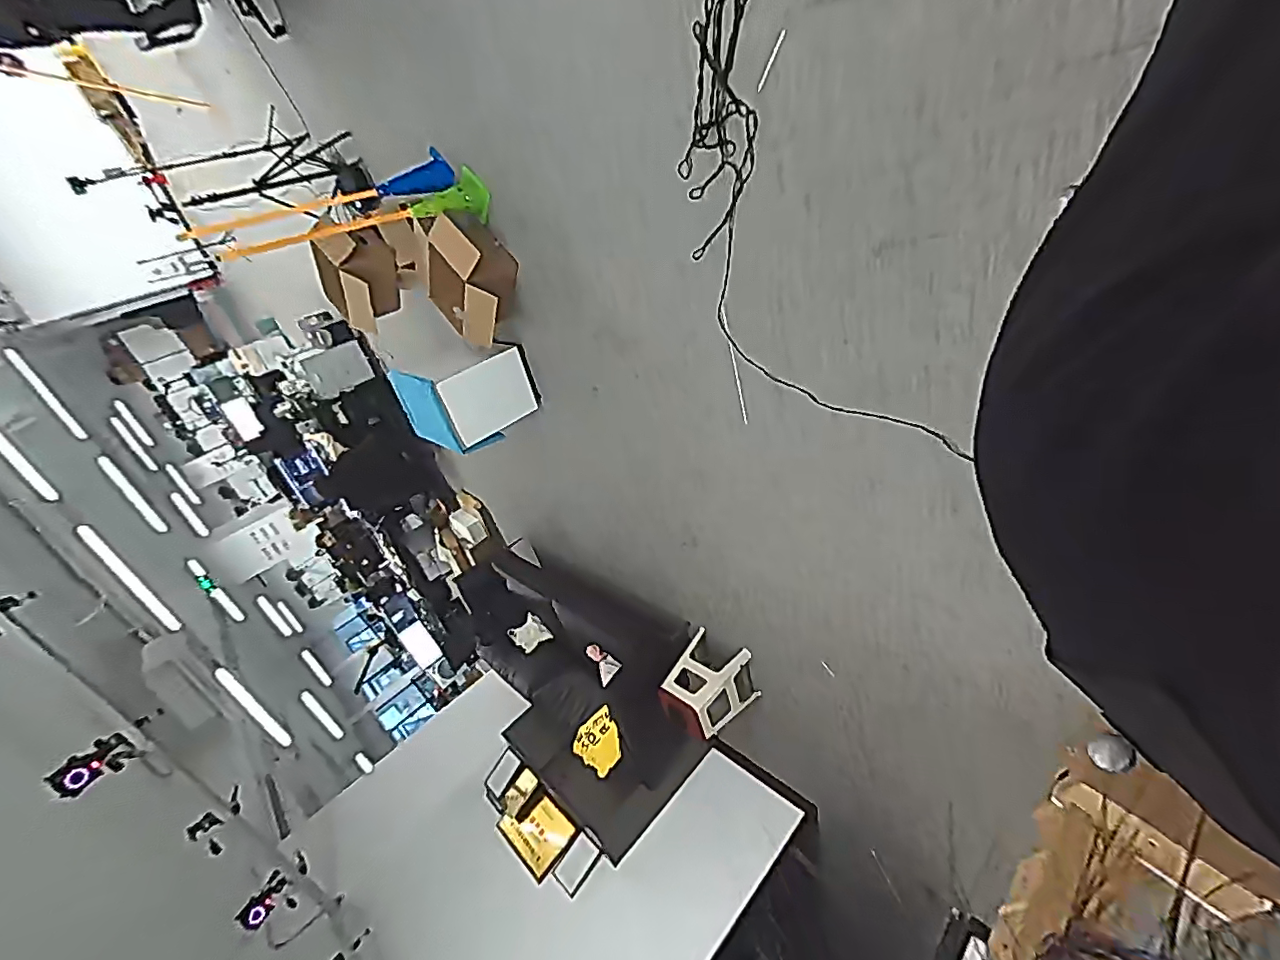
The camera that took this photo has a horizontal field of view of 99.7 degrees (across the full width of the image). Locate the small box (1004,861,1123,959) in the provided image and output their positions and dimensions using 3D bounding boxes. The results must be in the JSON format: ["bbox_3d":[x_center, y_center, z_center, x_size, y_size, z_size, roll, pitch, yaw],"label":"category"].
[{"bbox_3d":[1.126,1.159,1.442,0.179,0.176,0.168,34,145,30],"label":"small box"}]

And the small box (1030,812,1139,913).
[{"bbox_3d":[1.246,1.080,1.517,0.168,0.176,0.179,33,145,32],"label":"small box"}]
